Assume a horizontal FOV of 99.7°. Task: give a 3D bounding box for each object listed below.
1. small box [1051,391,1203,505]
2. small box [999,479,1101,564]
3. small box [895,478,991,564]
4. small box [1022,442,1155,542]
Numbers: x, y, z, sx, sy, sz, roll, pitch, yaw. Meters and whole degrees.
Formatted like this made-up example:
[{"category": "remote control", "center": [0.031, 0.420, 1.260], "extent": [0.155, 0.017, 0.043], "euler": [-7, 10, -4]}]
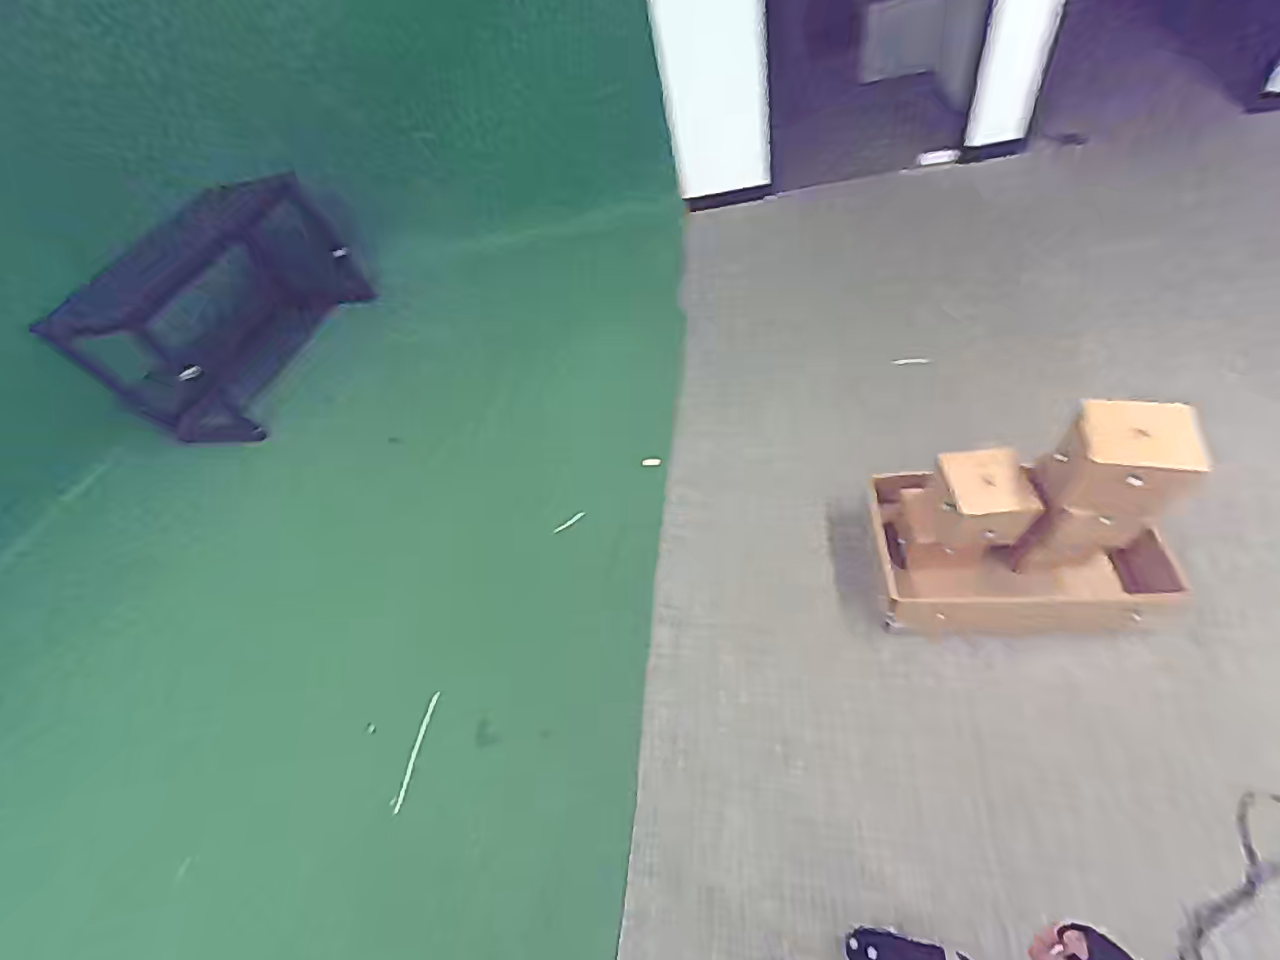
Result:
[{"category": "small box", "center": [0.988, -0.064, 1.115], "extent": [0.179, 0.176, 0.168], "euler": [5, 57, 22]}, {"category": "small box", "center": [1.057, 0.101, 1.391], "extent": [0.179, 0.176, 0.168], "euler": [-11, 52, 10]}, {"category": "small box", "center": [0.803, 0.116, 1.457], "extent": [0.179, 0.176, 0.168], "euler": [-6, 54, 10]}, {"category": "small box", "center": [1.022, 0.023, 1.249], "extent": [0.168, 0.176, 0.179], "euler": [-8, 52, 13]}]
